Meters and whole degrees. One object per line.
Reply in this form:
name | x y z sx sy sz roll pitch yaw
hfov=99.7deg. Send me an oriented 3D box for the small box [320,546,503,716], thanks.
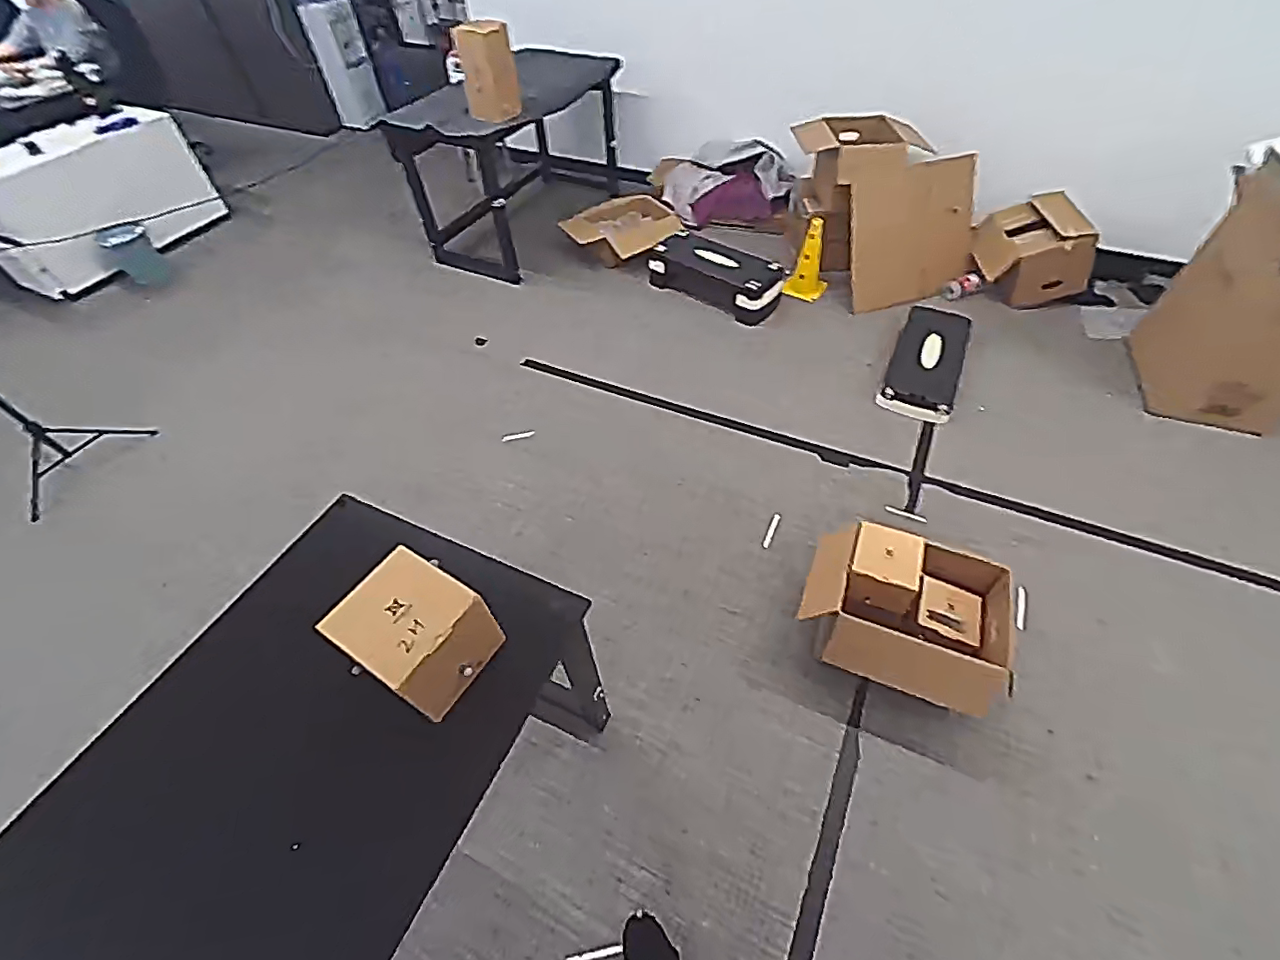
small box | -0.347 0.242 0.853 0.179 0.176 0.168 26 58 21
